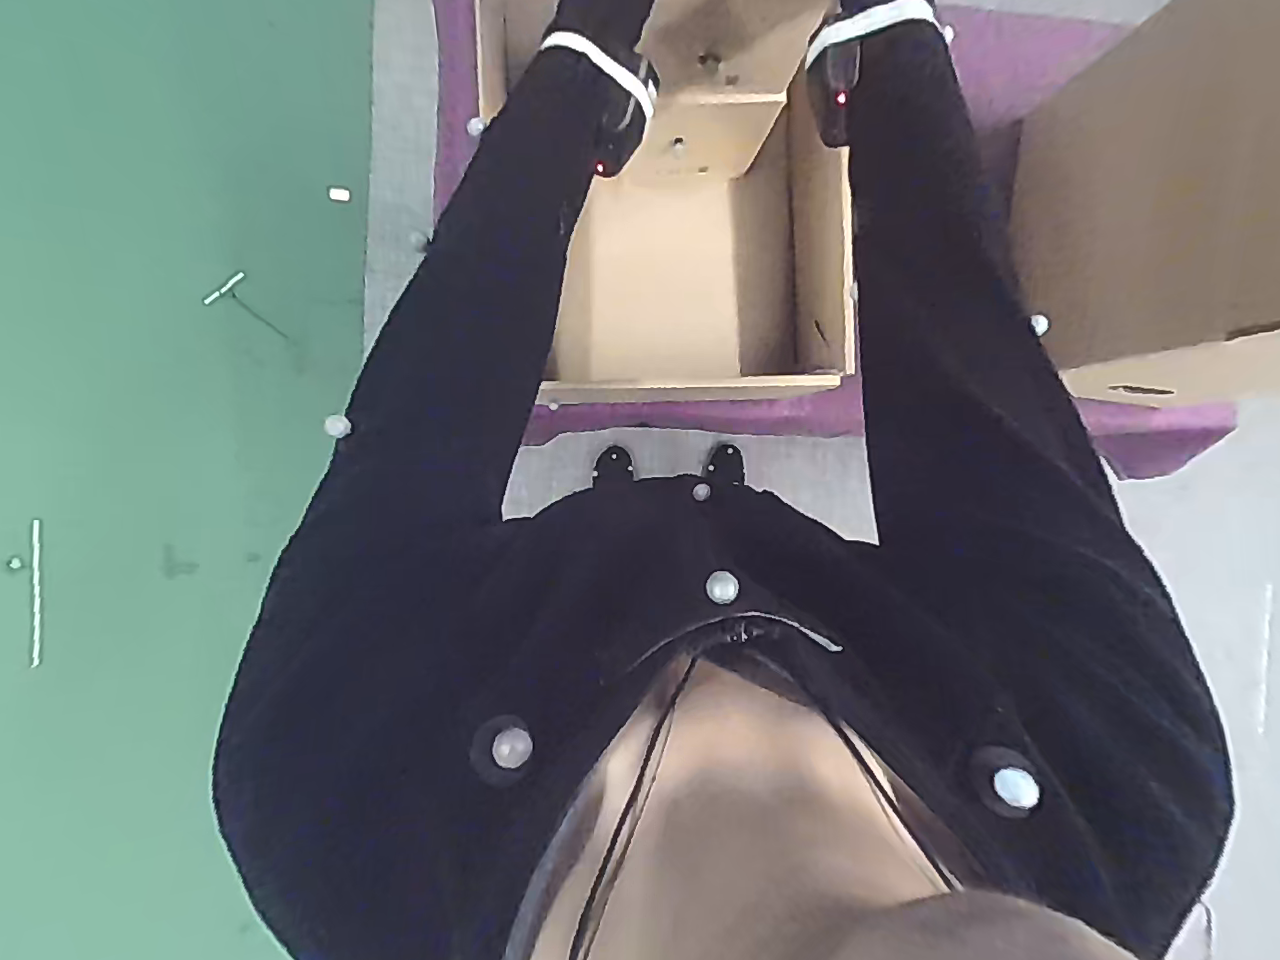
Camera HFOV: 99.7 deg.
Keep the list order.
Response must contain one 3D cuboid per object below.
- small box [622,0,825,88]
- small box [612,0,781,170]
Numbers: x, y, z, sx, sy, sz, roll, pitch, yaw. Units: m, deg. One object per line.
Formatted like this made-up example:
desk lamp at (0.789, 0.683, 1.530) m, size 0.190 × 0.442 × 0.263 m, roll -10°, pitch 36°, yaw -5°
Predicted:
small box at (0.067, -0.479, 0.462) m, size 0.168 × 0.176 × 0.179 m, roll -4°, pitch 95°, yaw -3°
small box at (0.056, -0.482, 0.626) m, size 0.168 × 0.176 × 0.179 m, roll -5°, pitch 94°, yaw -4°
